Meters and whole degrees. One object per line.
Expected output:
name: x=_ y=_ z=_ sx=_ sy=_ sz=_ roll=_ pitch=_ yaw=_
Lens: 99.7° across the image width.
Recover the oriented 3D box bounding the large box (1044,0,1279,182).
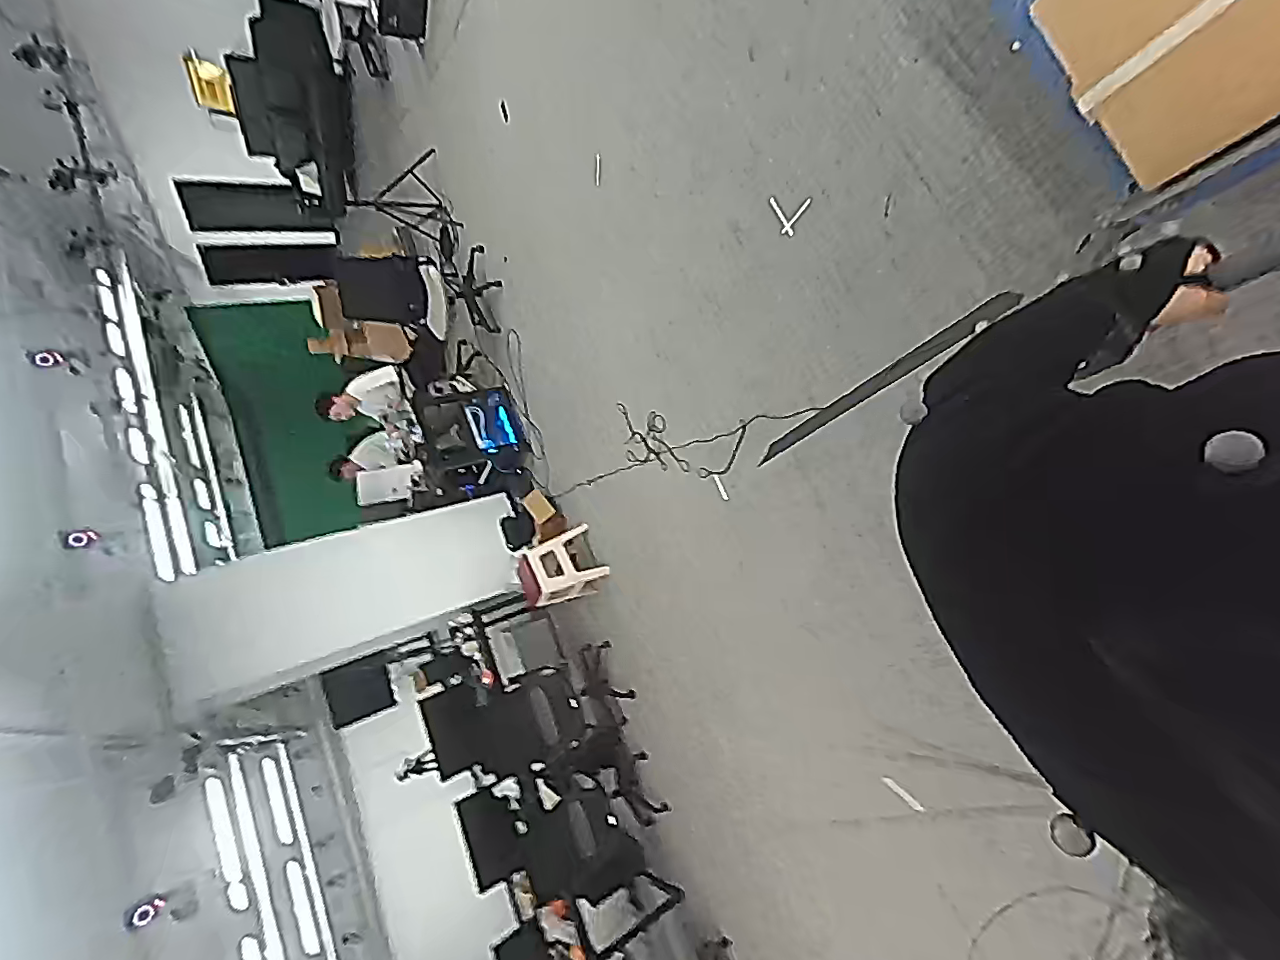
large box: x=0.837 y=-0.662 z=0.670 sx=0.320 sy=0.320 sz=0.408 roll=57 pitch=147 yaw=1
